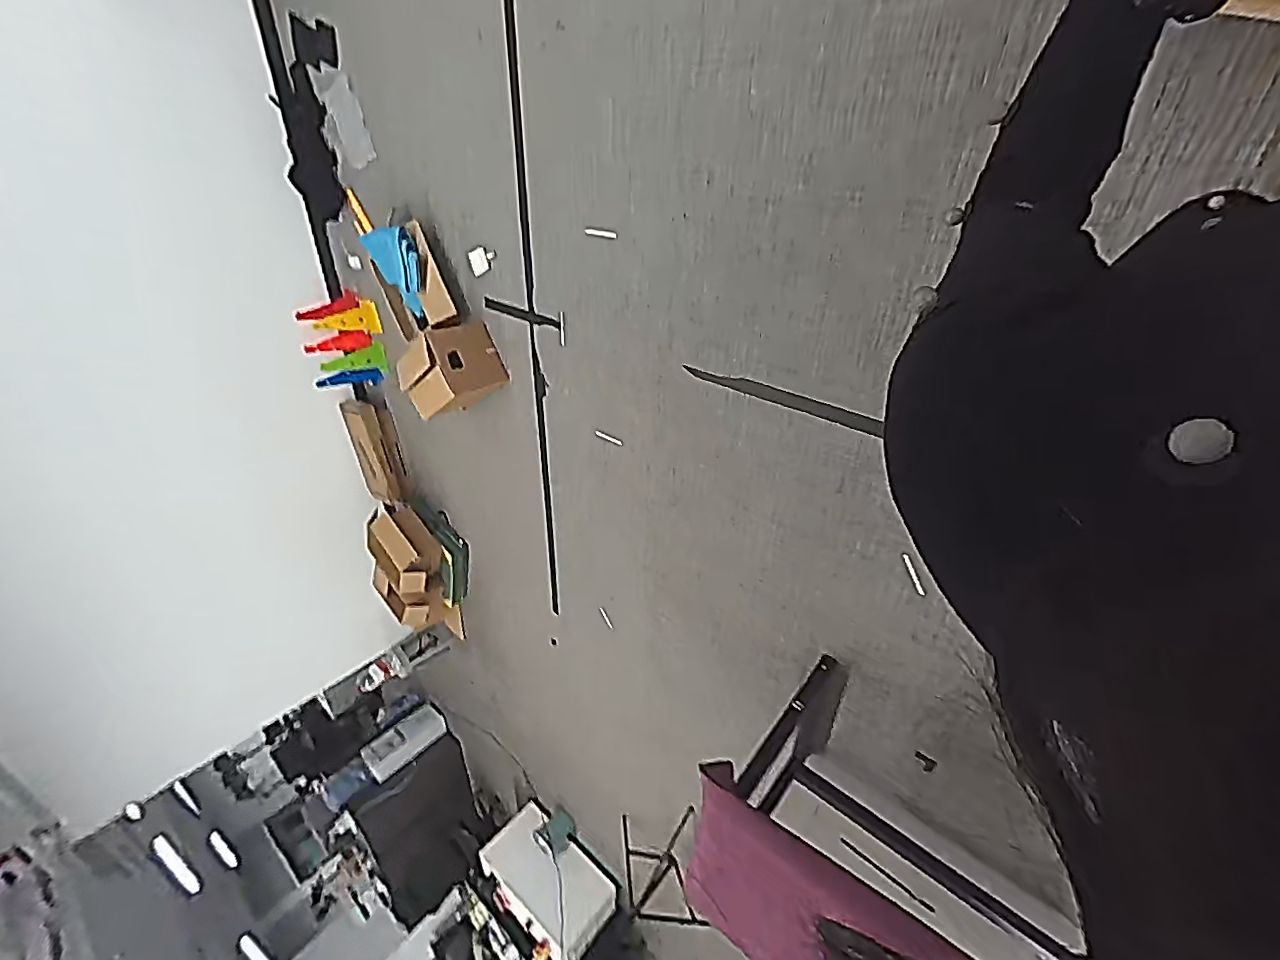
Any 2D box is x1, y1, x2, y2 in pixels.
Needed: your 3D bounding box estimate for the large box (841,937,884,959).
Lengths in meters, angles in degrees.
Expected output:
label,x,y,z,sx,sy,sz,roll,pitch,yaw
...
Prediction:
label,x,y,z,sx,sy,sz,roll,pitch,yaw
large box,0.574,1.367,1.194,0.408,0.320,0.320,25,127,35
